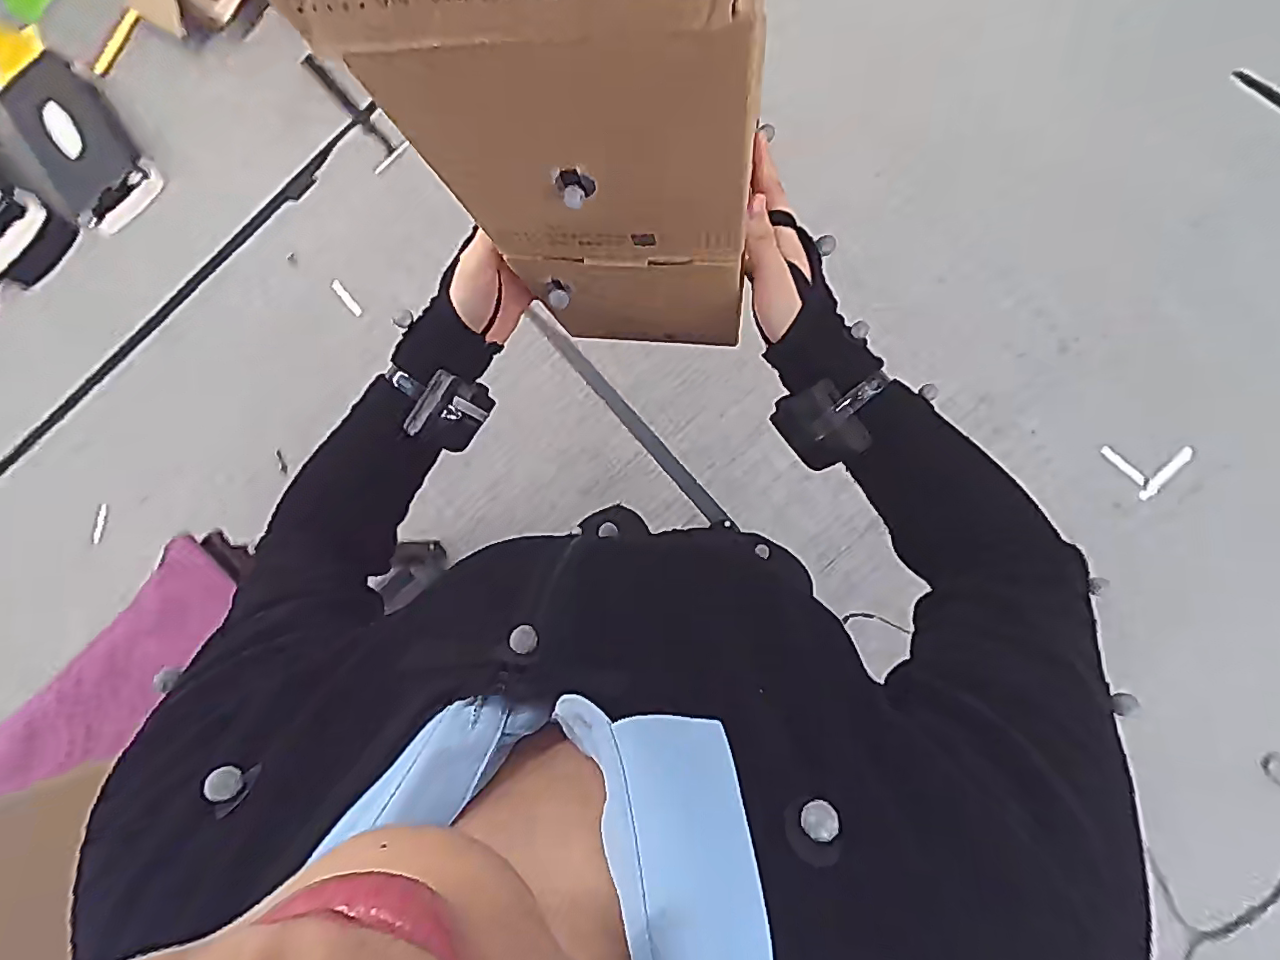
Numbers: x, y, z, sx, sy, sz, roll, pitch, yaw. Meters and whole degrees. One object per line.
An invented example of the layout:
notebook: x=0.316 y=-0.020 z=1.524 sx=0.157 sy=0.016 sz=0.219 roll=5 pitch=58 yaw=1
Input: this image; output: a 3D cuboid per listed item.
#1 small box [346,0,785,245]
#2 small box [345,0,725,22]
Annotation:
small box: x=-0.011 y=-0.242 z=0.276 sx=0.168 sy=0.176 sz=0.179 roll=5 pitch=86 yaw=9
small box: x=-0.042 y=-0.256 z=0.117 sx=0.168 sy=0.176 sz=0.179 roll=5 pitch=87 yaw=10
